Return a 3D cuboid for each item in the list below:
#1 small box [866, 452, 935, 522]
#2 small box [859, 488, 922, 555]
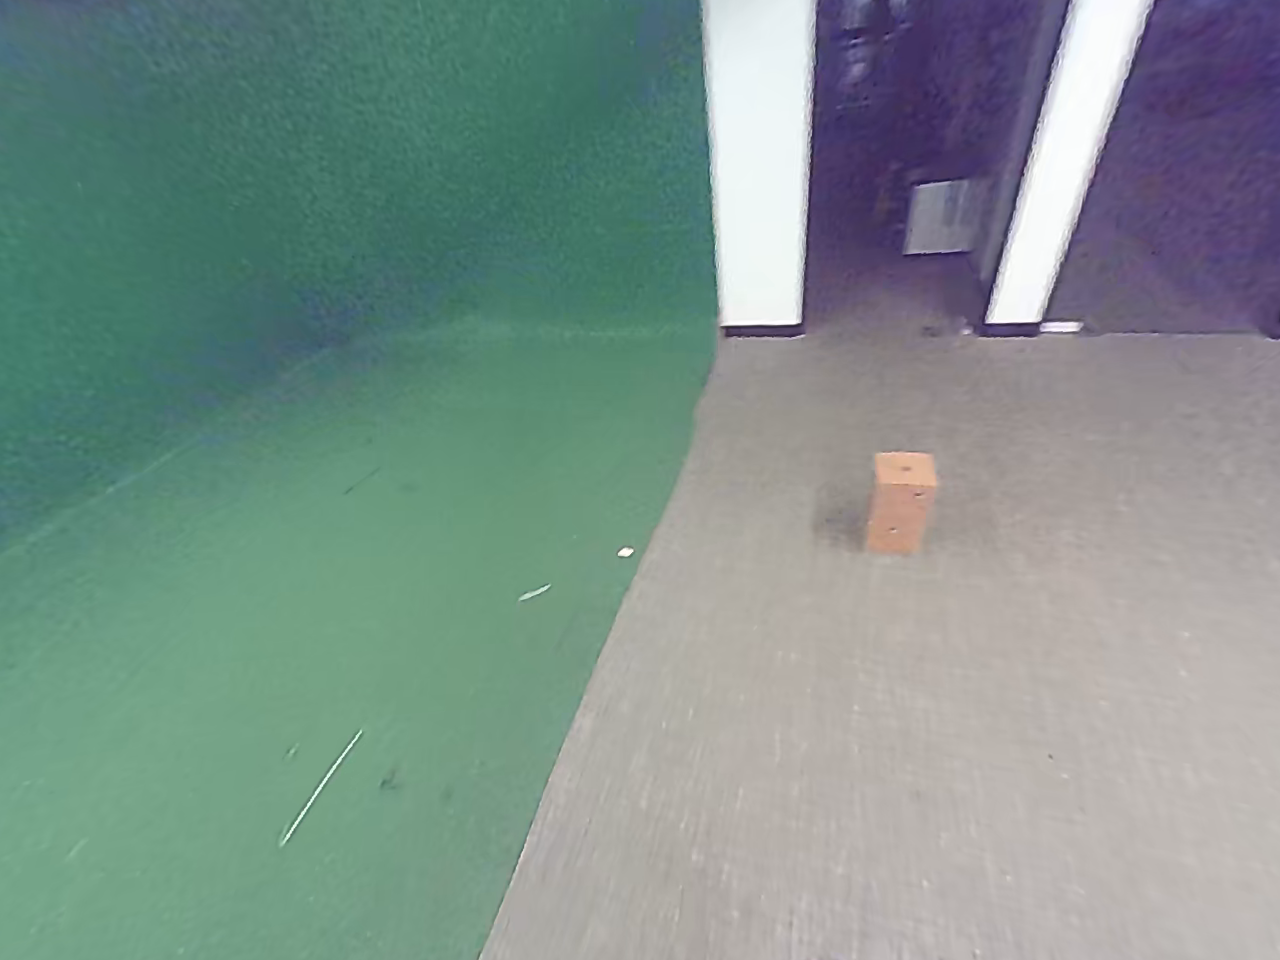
[{"bbox_3d":[0.862,0.025,1.805,0.179,0.176,0.168,3,42,17],"label":"small box"},{"bbox_3d":[0.880,0.148,1.914,0.179,0.176,0.168,3,42,17],"label":"small box"}]
